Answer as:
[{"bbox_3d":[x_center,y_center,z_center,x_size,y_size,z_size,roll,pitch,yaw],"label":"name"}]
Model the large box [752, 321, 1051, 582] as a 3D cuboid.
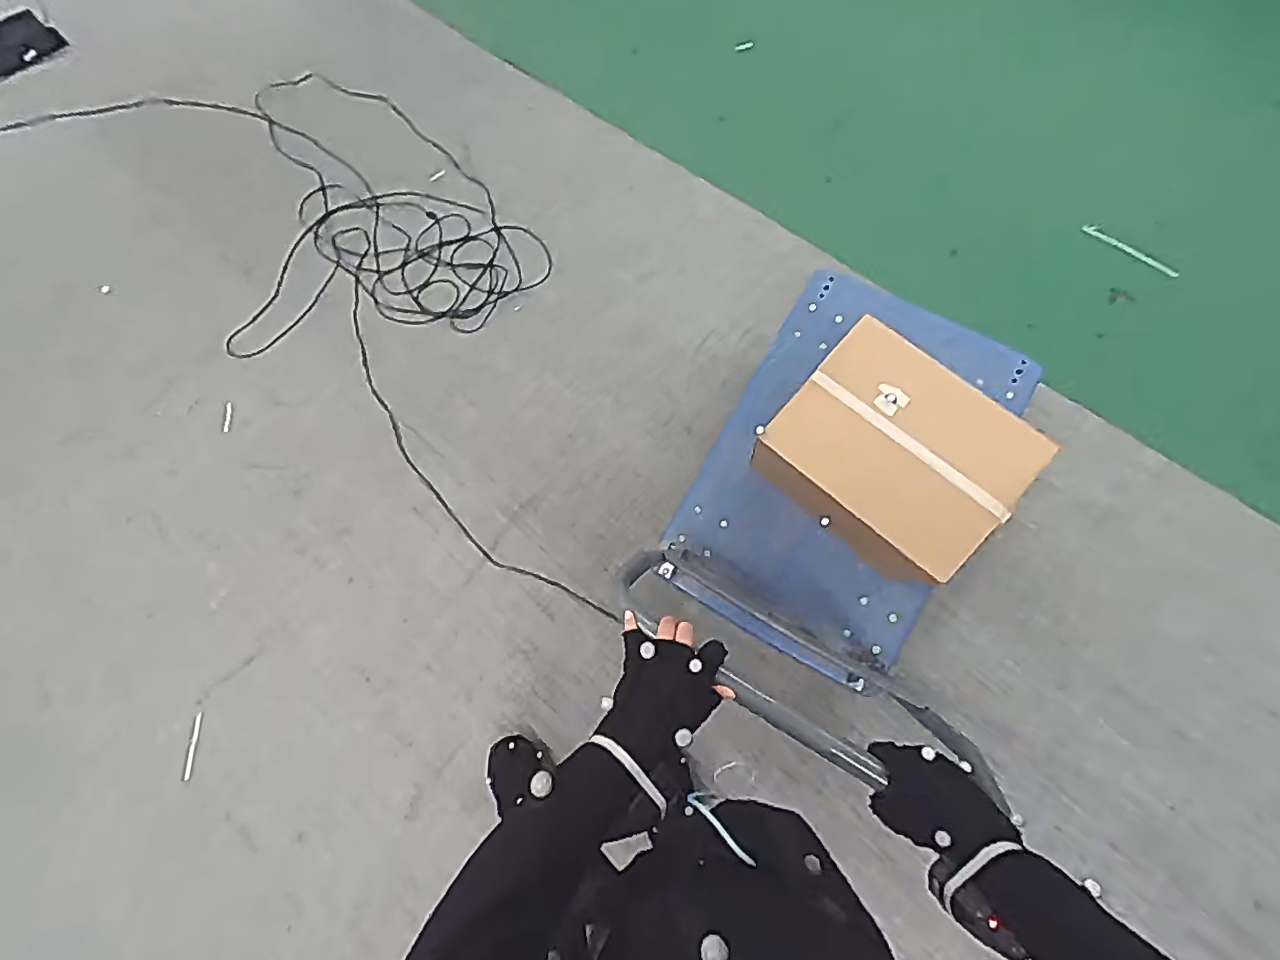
[{"bbox_3d":[0.485,-0.037,1.109,0.408,0.320,0.320,41,88,13],"label":"large box"}]
